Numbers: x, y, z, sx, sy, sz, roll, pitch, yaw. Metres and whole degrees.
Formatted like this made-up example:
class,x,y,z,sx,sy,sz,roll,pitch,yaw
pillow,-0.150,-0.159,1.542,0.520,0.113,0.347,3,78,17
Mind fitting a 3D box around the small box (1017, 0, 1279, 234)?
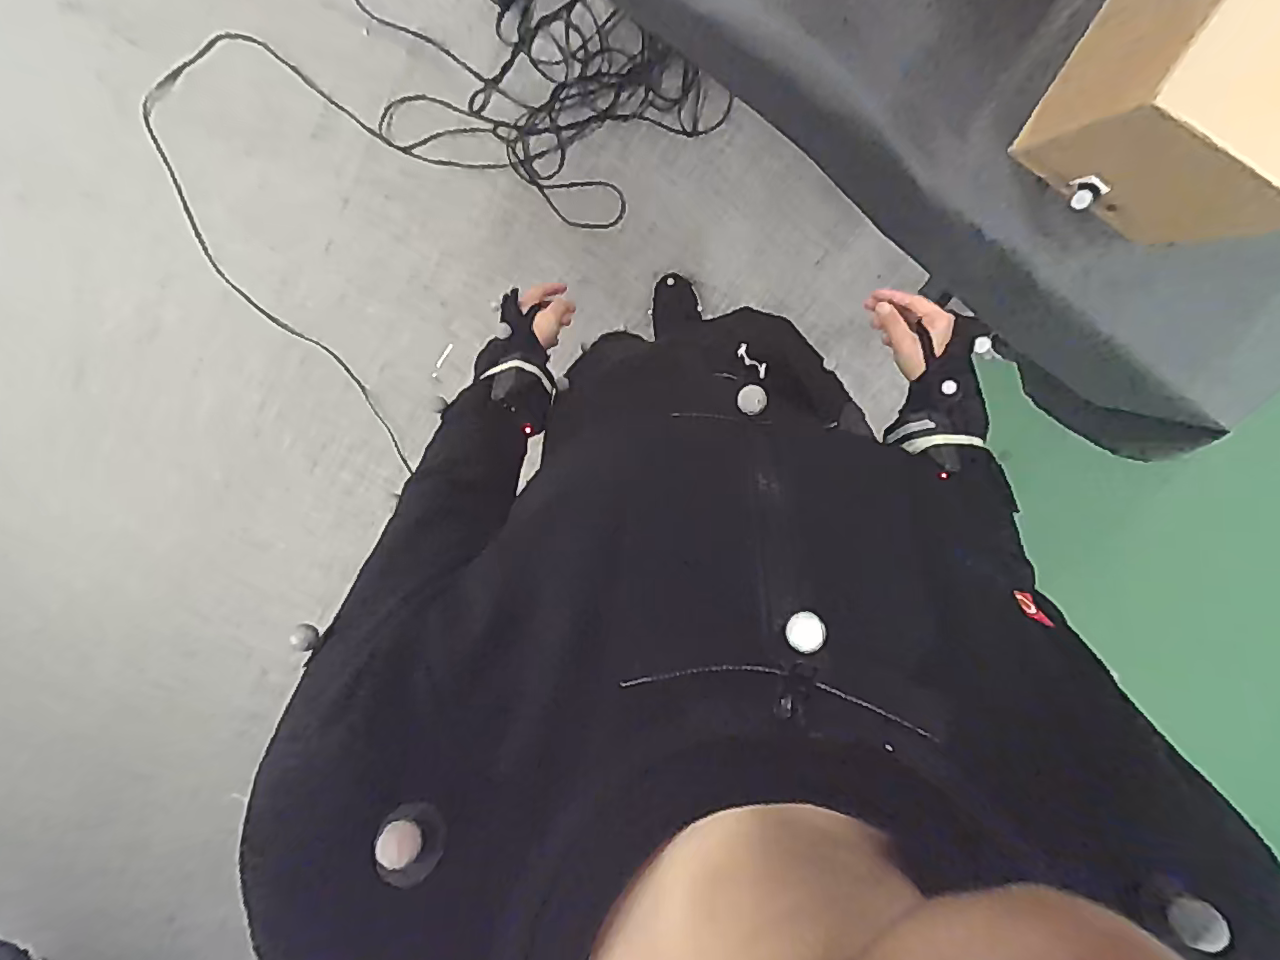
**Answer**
class,x,y,z,sx,sy,sz,roll,pitch,yaw
small box,0.442,-0.310,0.407,0.168,0.176,0.179,26,110,-6
